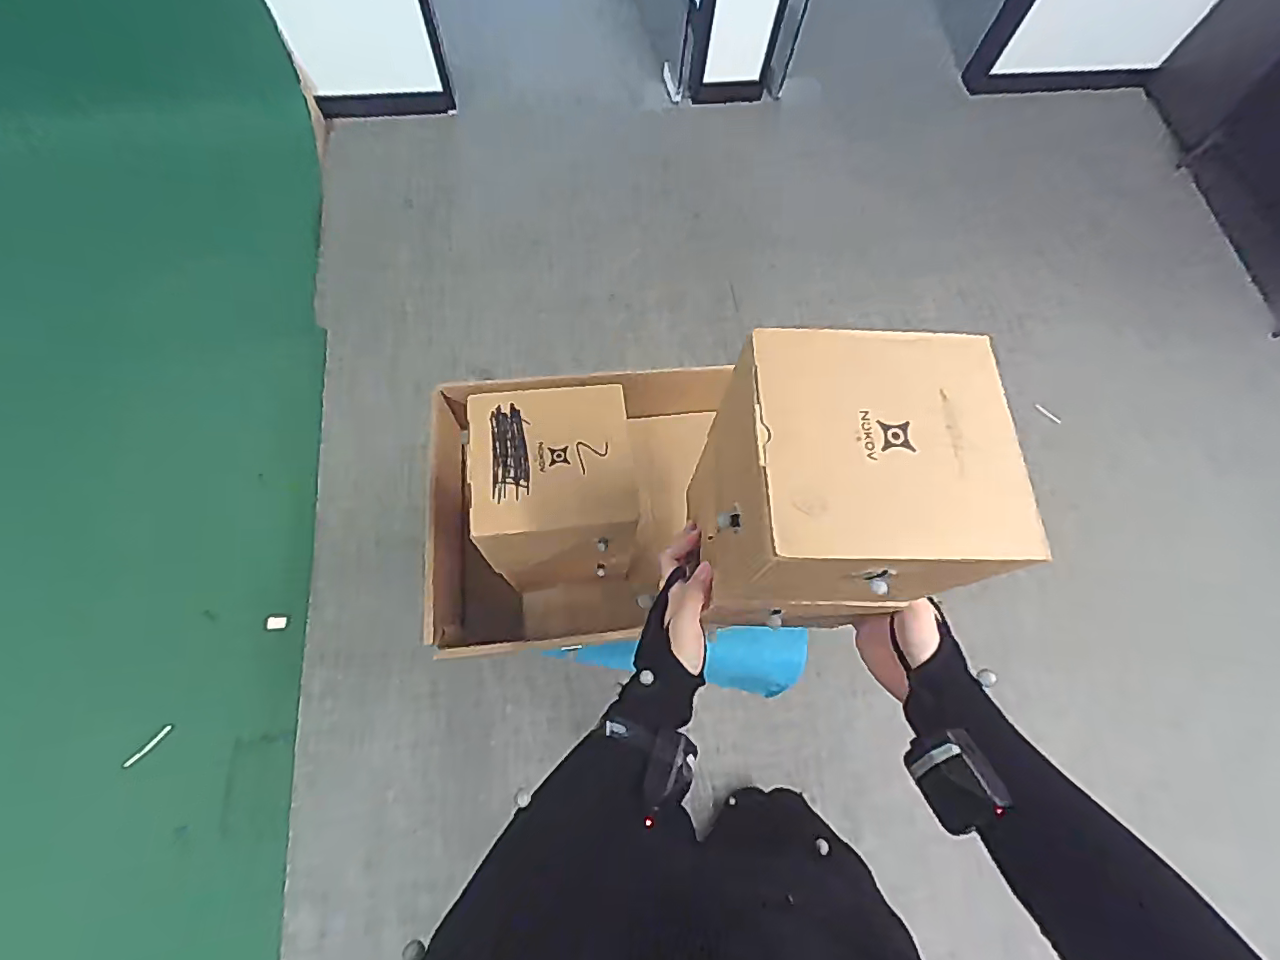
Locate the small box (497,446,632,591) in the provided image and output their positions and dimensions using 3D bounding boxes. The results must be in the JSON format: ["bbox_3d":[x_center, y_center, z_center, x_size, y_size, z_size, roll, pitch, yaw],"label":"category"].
[{"bbox_3d":[-0.109,0.065,0.812,0.179,0.176,0.168,-6,69,-6],"label":"small box"}]

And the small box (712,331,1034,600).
[{"bbox_3d":[0.154,0.001,0.432,0.179,0.176,0.168,1,69,-2],"label":"small box"}]
